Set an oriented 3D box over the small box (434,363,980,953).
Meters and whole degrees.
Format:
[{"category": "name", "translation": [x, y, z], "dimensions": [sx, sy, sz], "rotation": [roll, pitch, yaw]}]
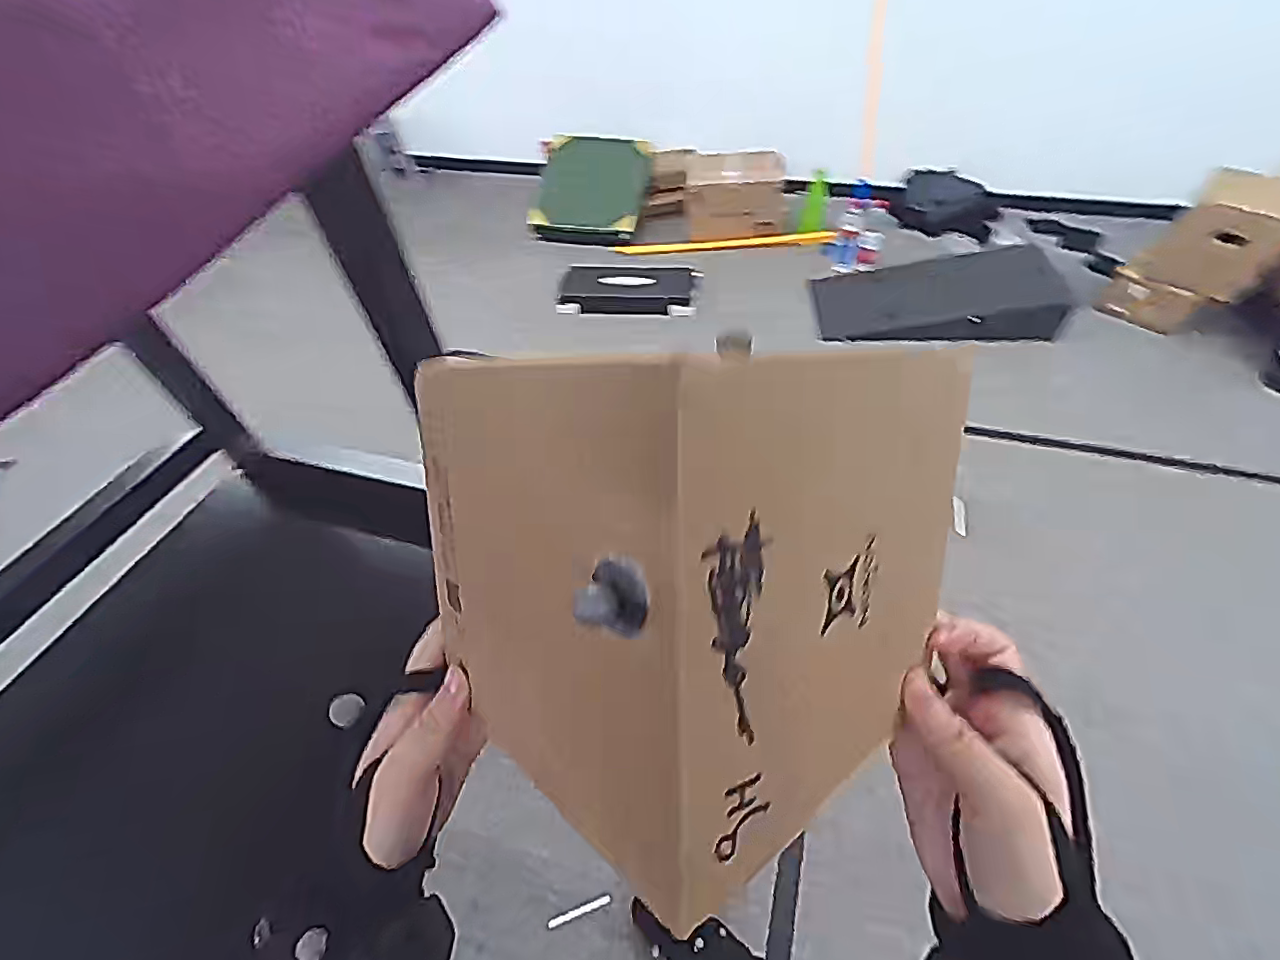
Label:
[{"category": "small box", "translation": [0.025, 0.033, 0.250], "dimensions": [0.179, 0.168, 0.176], "rotation": [-9, 14, -40]}]
